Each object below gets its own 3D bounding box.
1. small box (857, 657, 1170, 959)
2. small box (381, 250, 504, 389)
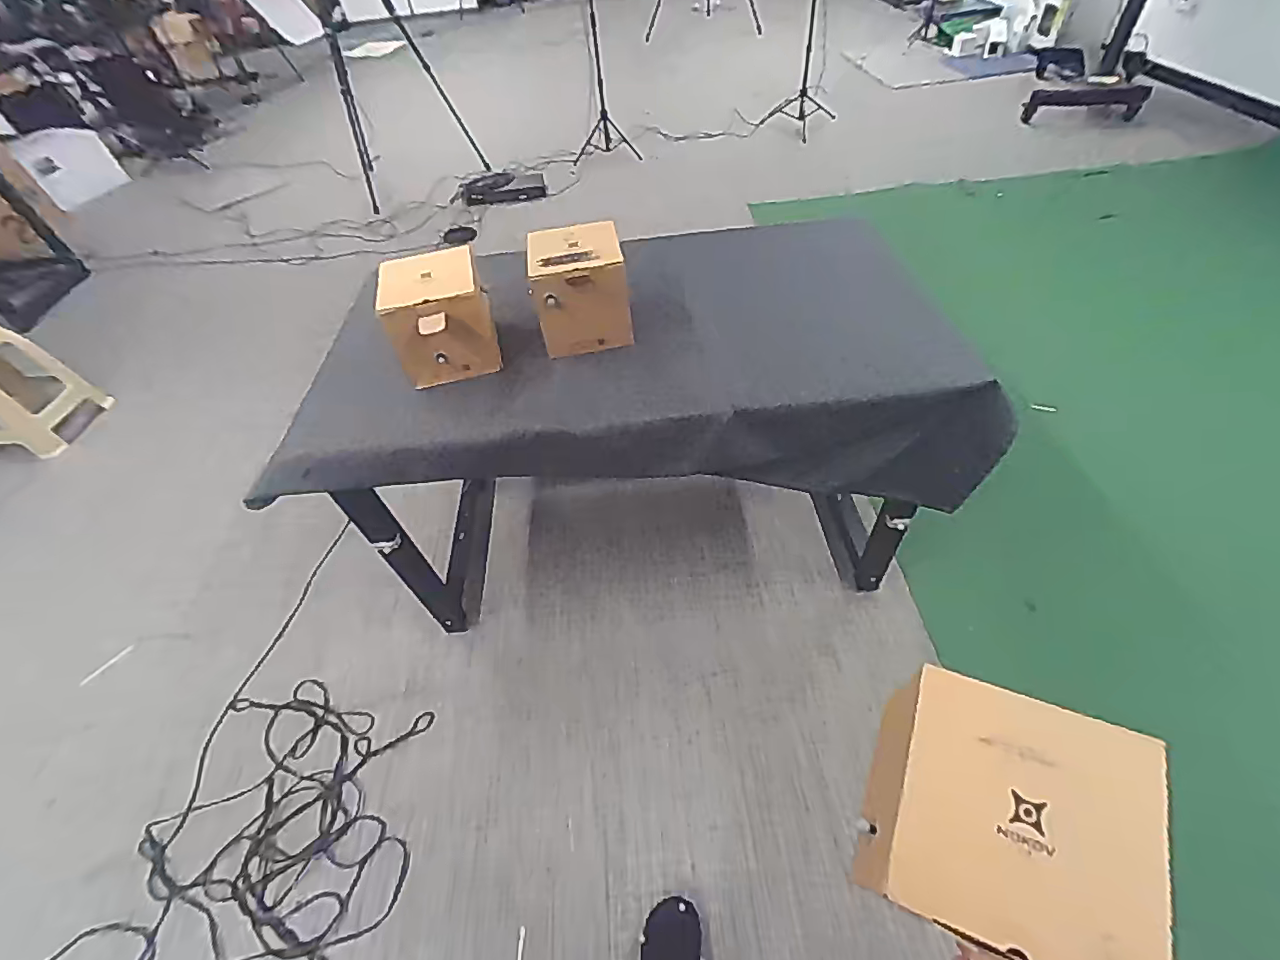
[{"bbox_3d":[0.291,0.280,0.454,0.168,0.176,0.179,15,61,20],"label":"small box"},{"bbox_3d":[-0.360,-0.297,1.005,0.168,0.176,0.179,-14,50,-7],"label":"small box"}]
